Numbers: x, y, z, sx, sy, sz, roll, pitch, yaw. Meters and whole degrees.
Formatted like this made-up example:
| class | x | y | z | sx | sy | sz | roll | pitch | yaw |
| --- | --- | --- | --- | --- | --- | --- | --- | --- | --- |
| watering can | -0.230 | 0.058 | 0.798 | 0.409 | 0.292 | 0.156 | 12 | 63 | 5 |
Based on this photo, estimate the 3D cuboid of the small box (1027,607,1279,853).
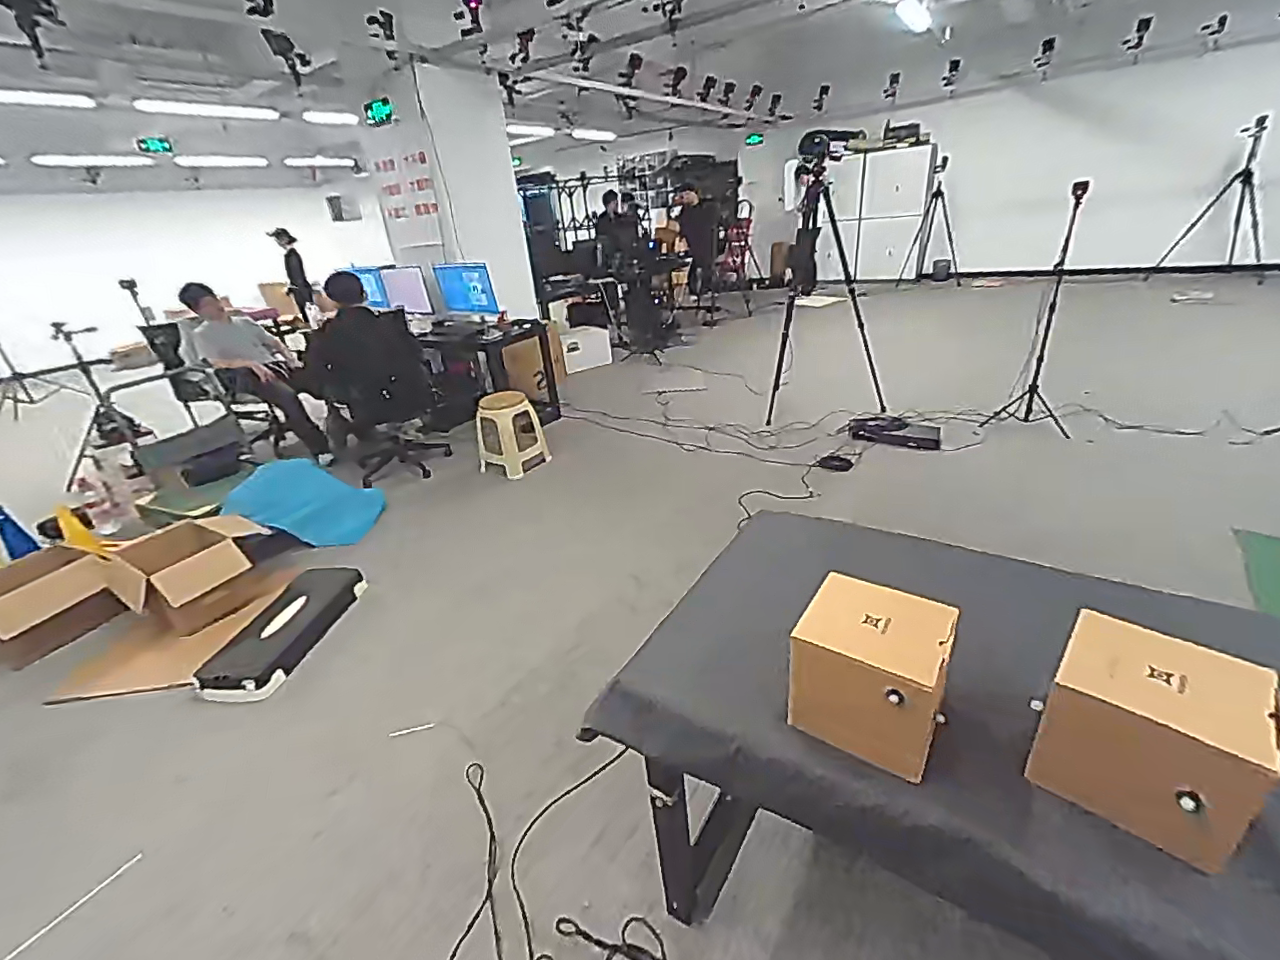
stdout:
| class | x | y | z | sx | sy | sz | roll | pitch | yaw |
| --- | --- | --- | --- | --- | --- | --- | --- | --- | --- |
| small box | 0.590 | 0.287 | 0.633 | 0.179 | 0.176 | 0.168 | 18 | 34 | 42 |

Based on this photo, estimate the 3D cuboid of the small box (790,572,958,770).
| class | x | y | z | sx | sy | sz | roll | pitch | yaw |
| --- | --- | --- | --- | --- | --- | --- | --- | --- | --- |
| small box | 0.319 | 0.259 | 0.752 | 0.179 | 0.176 | 0.168 | 13 | 31 | 34 |
